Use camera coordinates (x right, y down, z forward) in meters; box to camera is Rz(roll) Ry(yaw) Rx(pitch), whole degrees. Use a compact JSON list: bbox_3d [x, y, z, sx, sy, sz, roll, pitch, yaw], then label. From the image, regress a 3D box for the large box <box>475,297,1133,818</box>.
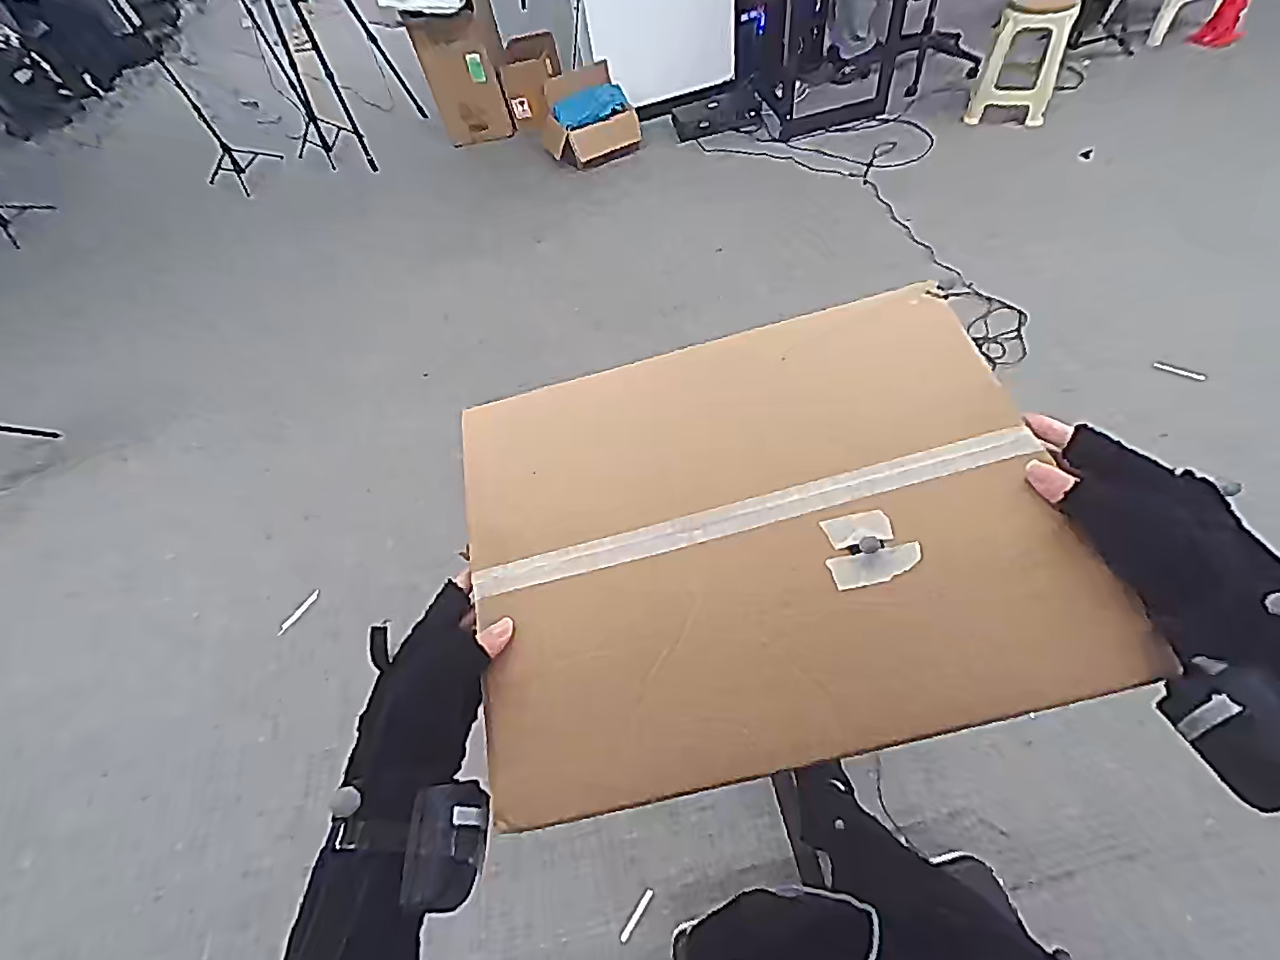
[{"bbox_3d":[0.100,0.092,0.533,0.408,0.320,0.320,-15,64,3],"label":"large box"}]
